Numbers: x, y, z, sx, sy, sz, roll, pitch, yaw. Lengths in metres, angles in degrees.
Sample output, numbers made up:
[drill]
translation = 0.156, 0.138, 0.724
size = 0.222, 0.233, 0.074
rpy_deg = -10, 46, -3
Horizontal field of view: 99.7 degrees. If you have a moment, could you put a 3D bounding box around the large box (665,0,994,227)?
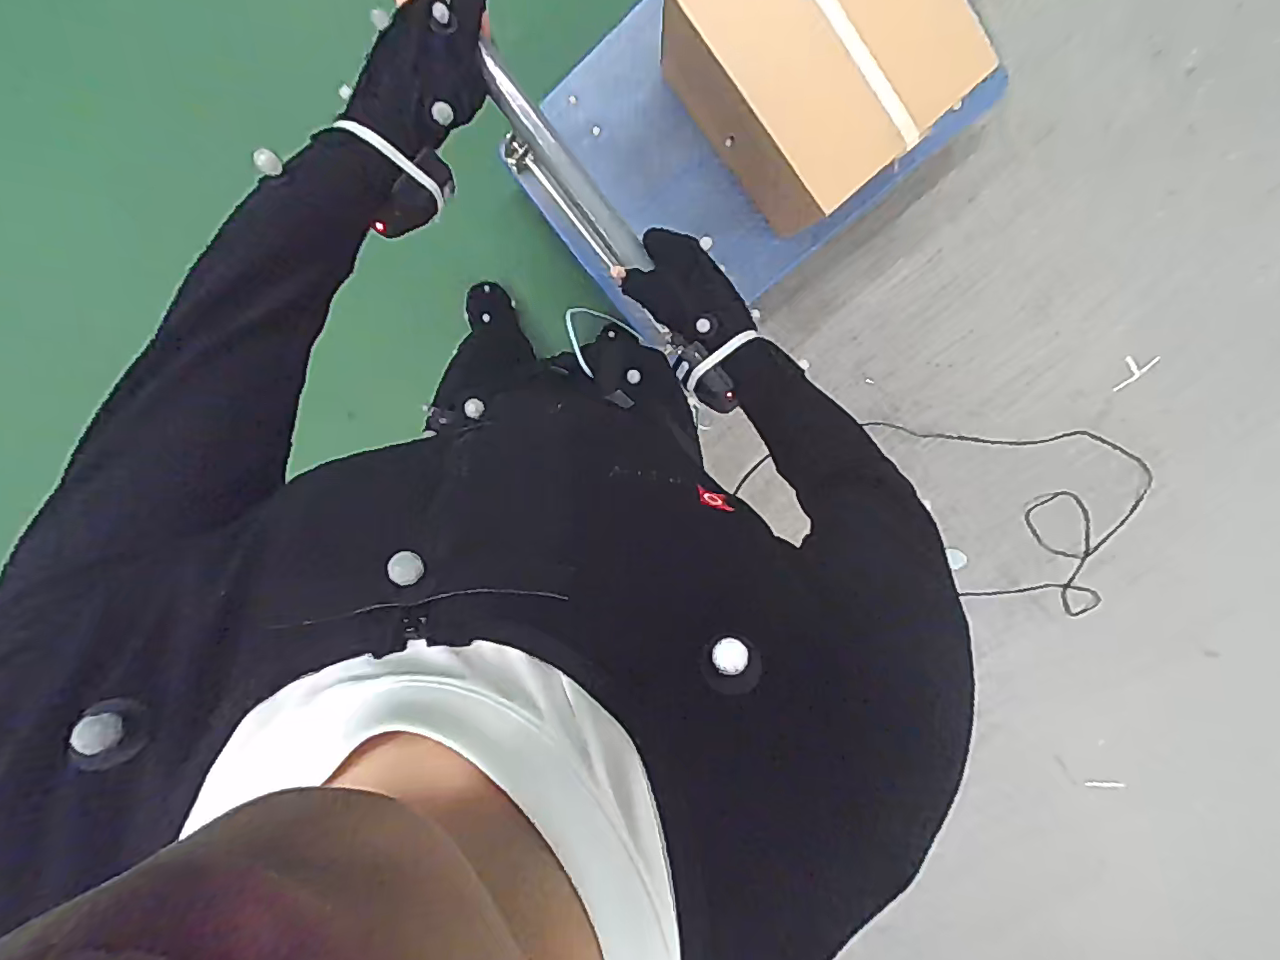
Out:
[large box]
translation = 0.285, -0.717, 0.928
size = 0.320, 0.320, 0.408
rpy_deg = -39, 103, 12
